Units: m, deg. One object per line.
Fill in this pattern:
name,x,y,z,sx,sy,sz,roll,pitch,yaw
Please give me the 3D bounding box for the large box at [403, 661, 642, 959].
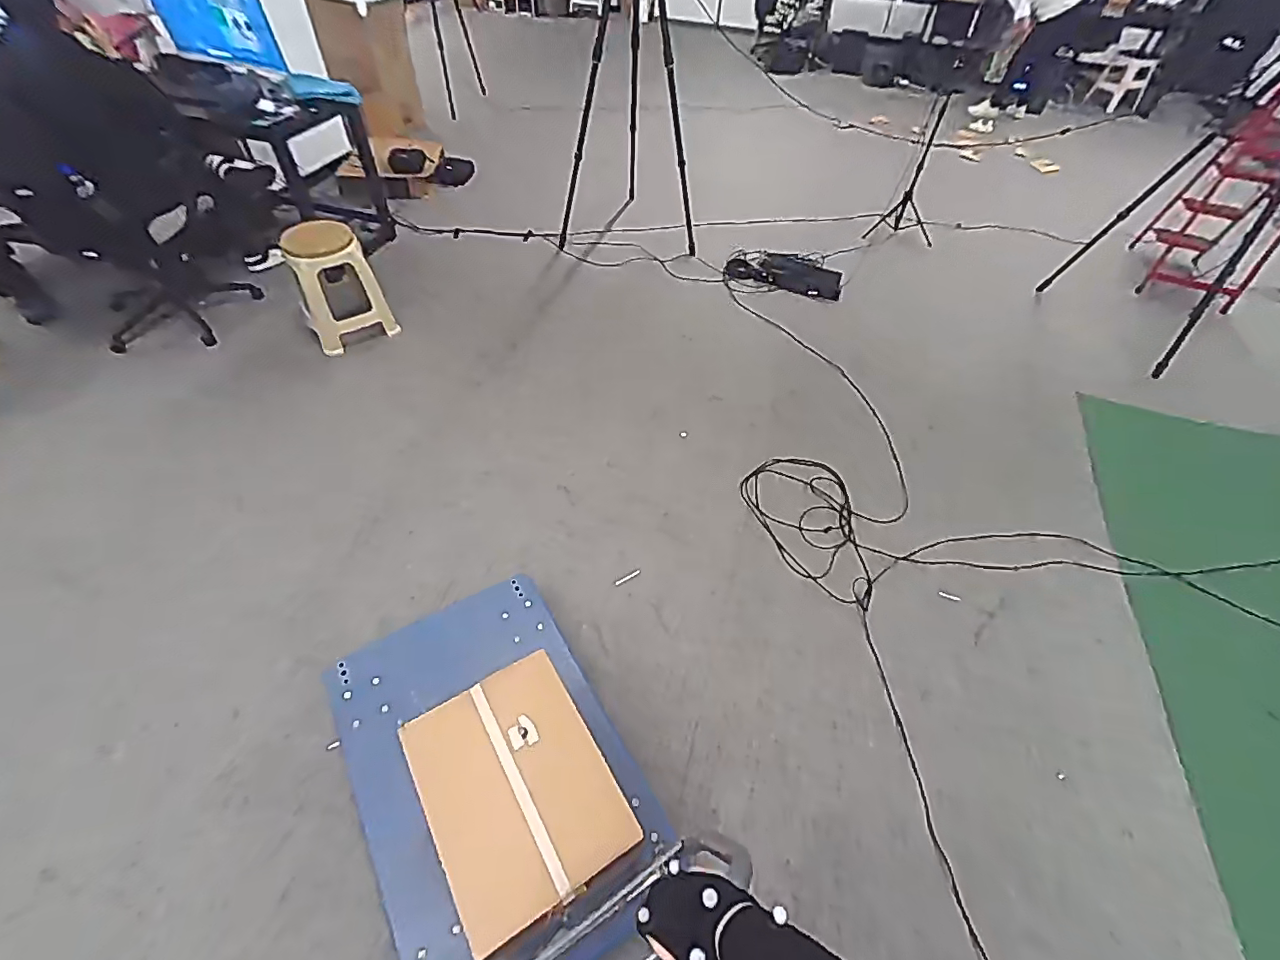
large box,-0.233,0.671,1.117,0.320,0.320,0.408,-24,55,-23
